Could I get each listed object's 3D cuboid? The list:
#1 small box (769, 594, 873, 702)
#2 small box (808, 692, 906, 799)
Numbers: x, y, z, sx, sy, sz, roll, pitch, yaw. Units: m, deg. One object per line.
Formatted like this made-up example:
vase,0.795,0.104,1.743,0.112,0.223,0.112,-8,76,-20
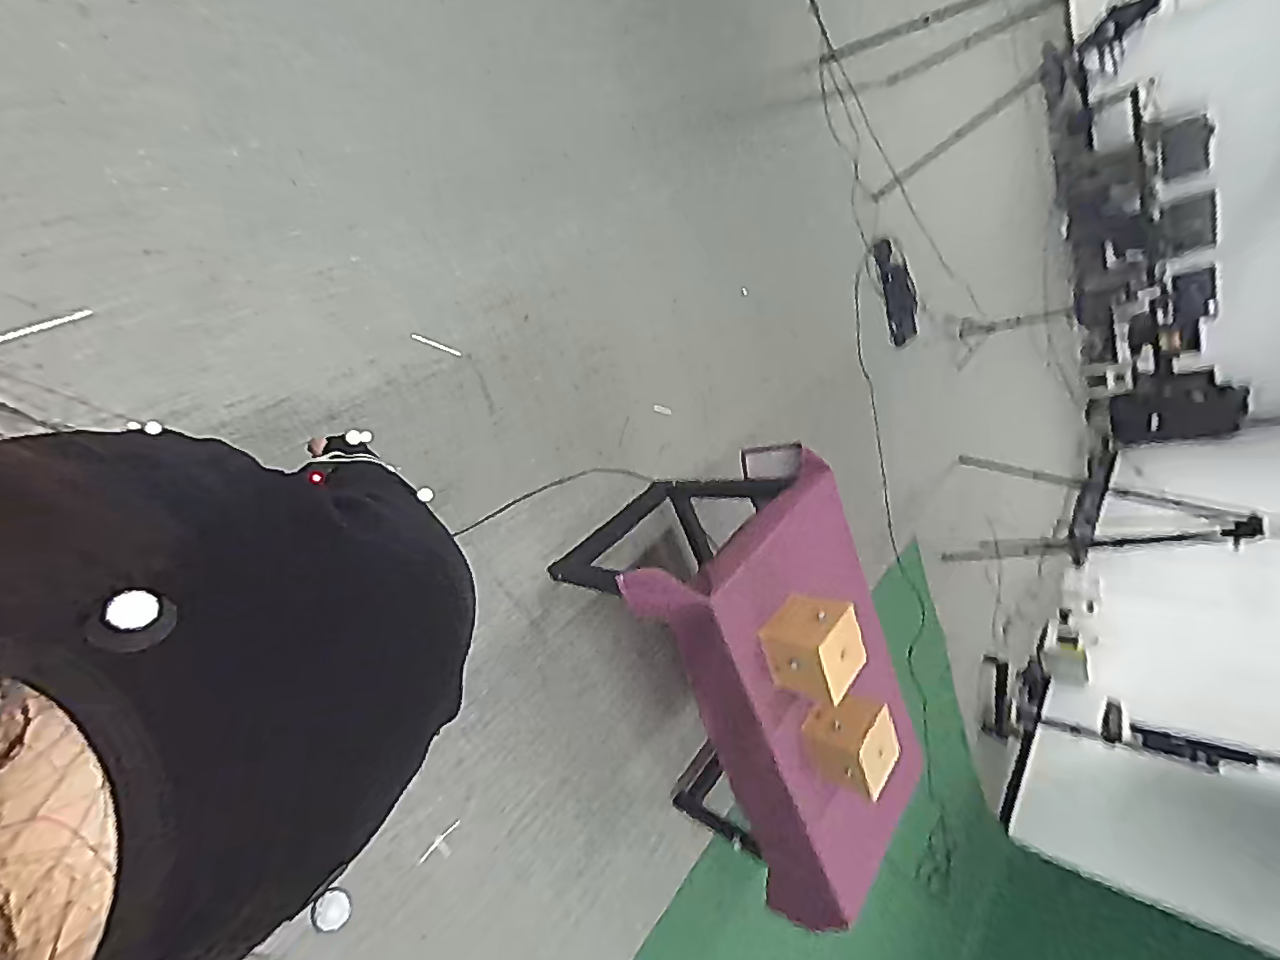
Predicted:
small box,0.431,0.398,1.310,0.179,0.176,0.168,-34,111,-37
small box,0.568,0.682,1.422,0.168,0.176,0.179,-35,112,-35
